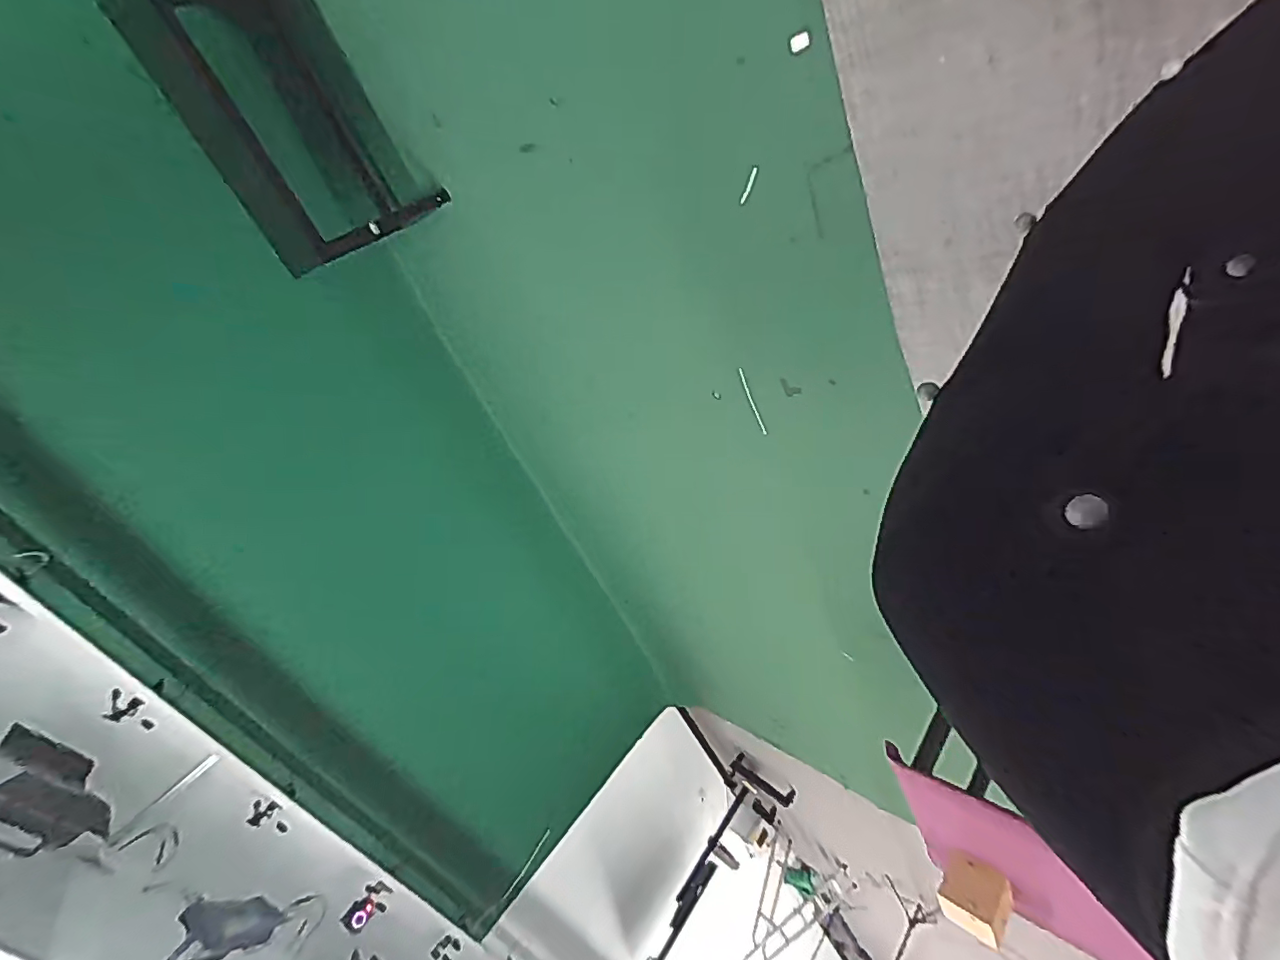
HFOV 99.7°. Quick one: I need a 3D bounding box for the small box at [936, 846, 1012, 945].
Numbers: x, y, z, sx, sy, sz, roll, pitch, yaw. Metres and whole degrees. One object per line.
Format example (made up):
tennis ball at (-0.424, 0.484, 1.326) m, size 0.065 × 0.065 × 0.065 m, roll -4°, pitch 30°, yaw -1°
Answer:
small box at (1.123, 1.384, 1.812) m, size 0.168 × 0.176 × 0.179 m, roll 7°, pitch 132°, yaw 49°
